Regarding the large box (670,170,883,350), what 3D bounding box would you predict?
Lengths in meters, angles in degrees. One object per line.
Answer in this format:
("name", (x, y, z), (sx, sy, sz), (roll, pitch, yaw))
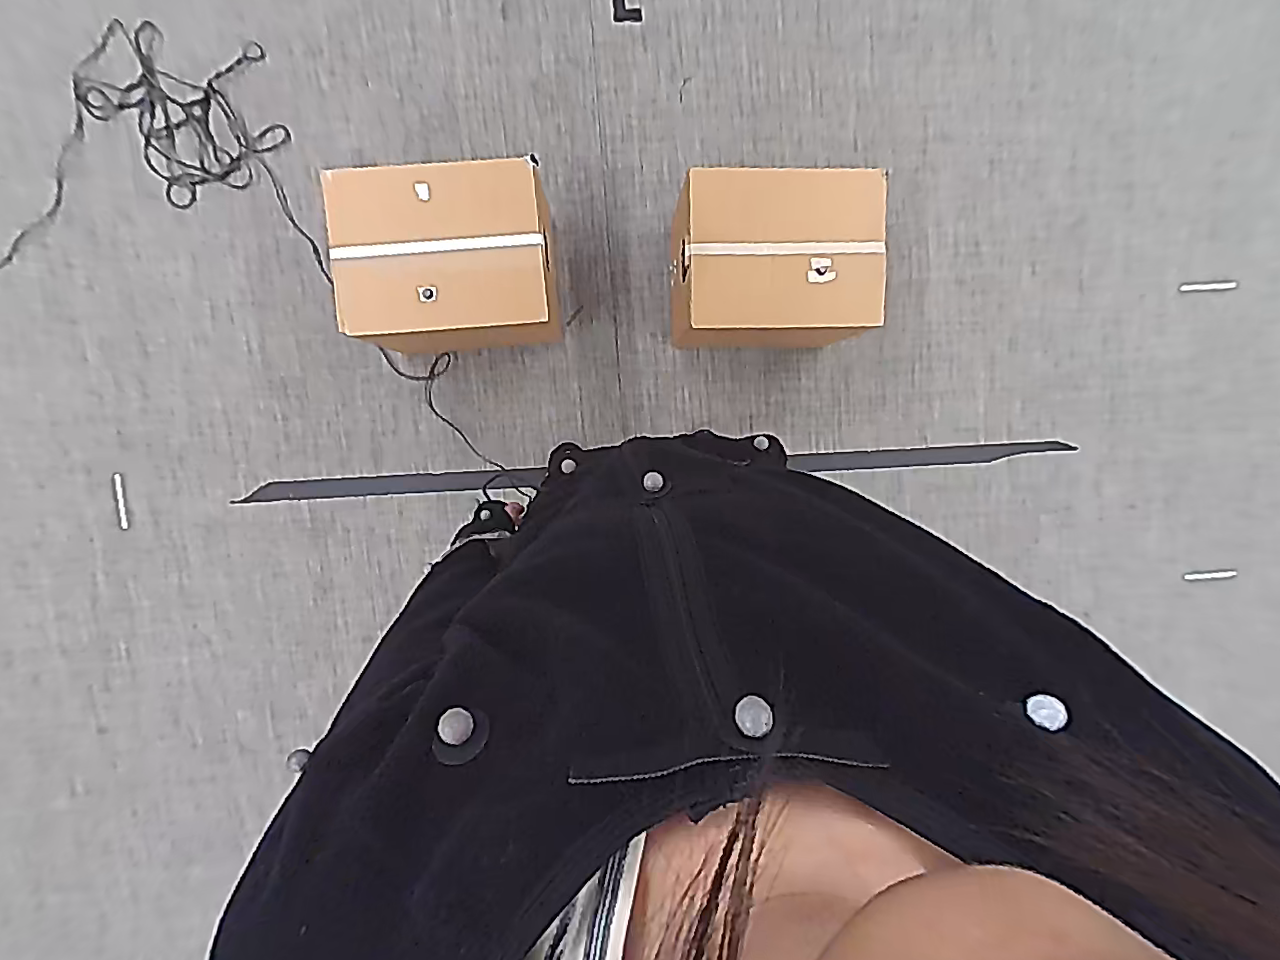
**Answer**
("large box", (0.290, -0.483, 1.251), (0.408, 0.320, 0.320), (-1, 96, -4))
